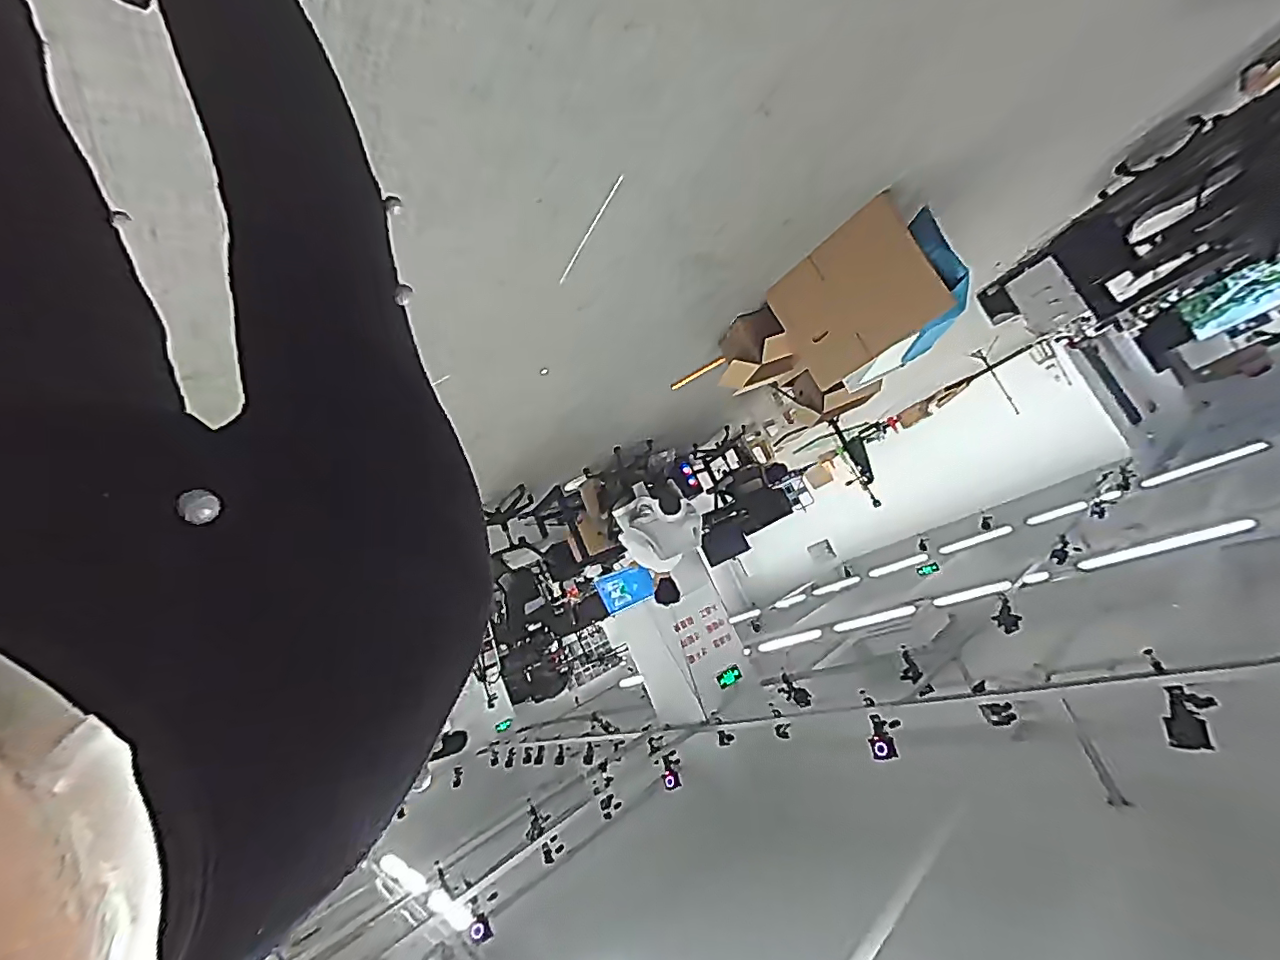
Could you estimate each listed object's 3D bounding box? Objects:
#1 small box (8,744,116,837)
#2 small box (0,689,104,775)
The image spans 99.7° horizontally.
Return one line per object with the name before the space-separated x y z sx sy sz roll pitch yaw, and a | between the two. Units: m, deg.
small box | -1.625 0.864 1.524 0.168 0.176 0.179 -16 166 -38
small box | -1.694 0.722 1.557 0.168 0.176 0.179 -15 166 -38
